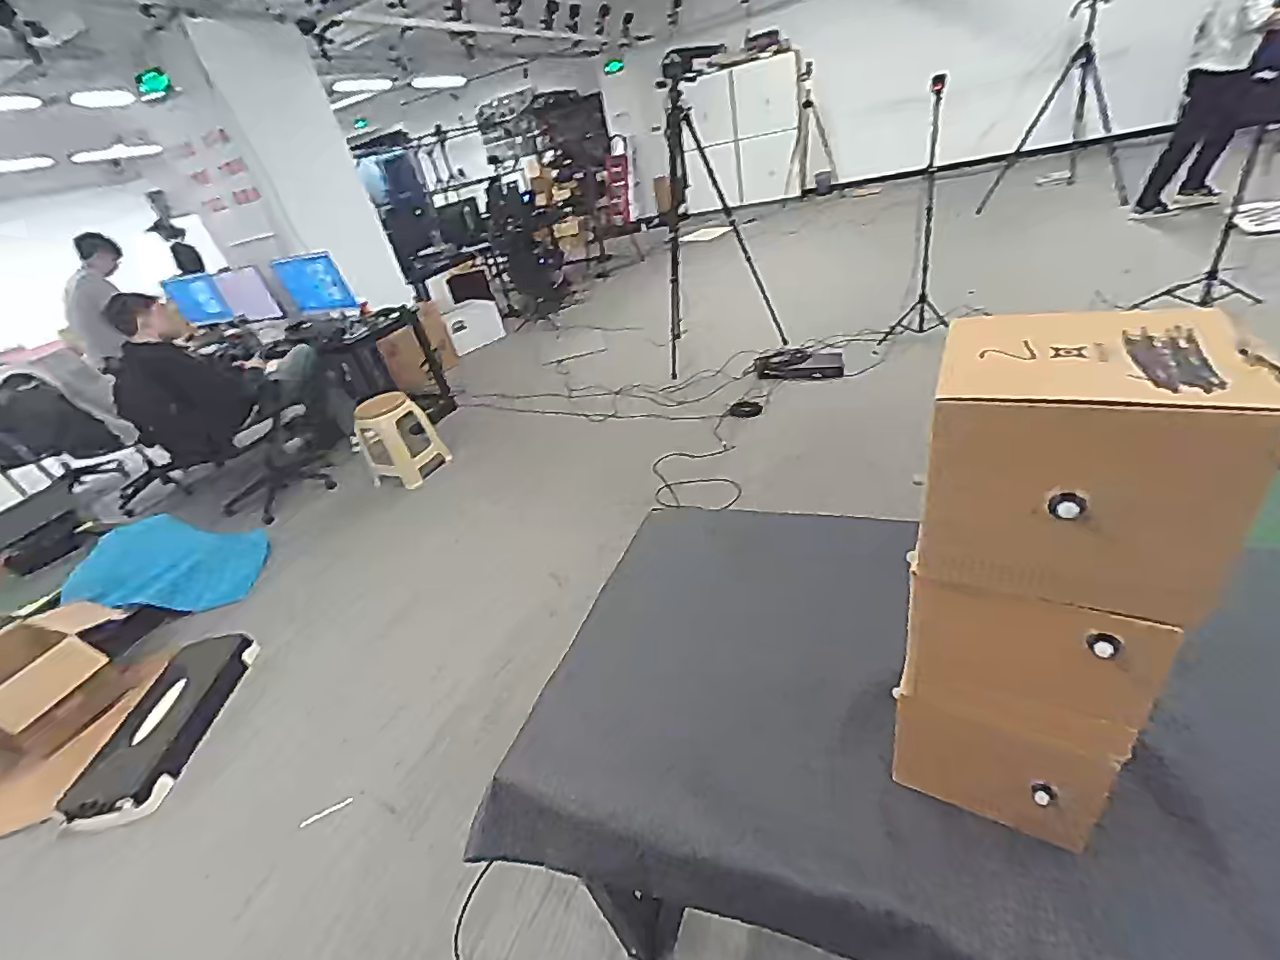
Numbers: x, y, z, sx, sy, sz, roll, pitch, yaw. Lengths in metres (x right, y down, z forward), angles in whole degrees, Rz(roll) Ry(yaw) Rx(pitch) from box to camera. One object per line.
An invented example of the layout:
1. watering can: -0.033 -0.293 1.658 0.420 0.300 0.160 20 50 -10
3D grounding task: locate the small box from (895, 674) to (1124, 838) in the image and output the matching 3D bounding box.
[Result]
1. small box: 0.392 0.251 0.595 0.179 0.176 0.168 8 37 32

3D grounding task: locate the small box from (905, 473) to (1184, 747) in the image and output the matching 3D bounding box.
1. small box: 0.361 0.114 0.512 0.179 0.176 0.168 10 38 32
